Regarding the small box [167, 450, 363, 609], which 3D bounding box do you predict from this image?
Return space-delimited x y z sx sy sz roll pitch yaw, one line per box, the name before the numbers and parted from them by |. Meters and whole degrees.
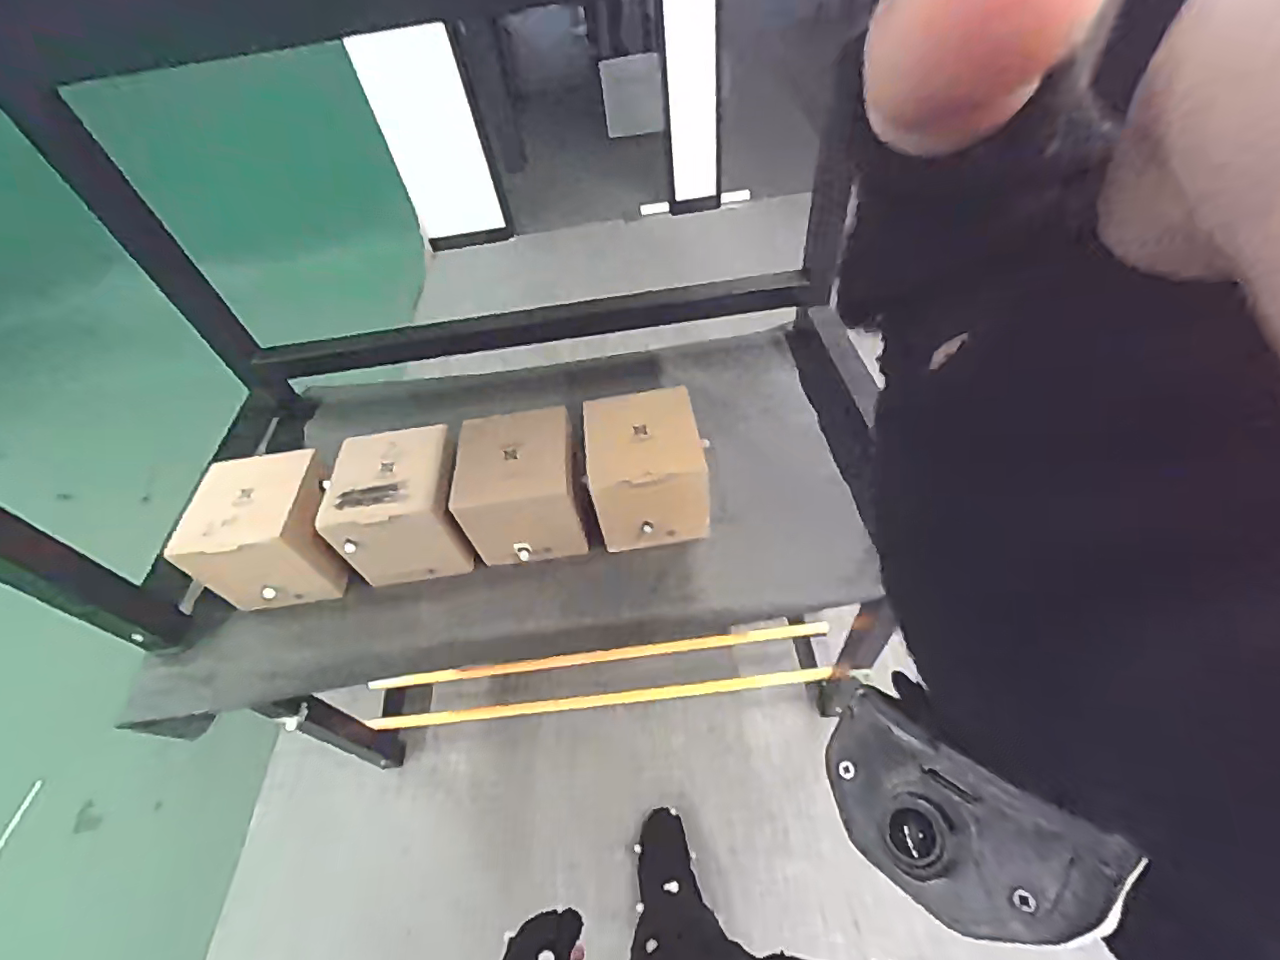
small box | -0.566 0.079 0.851 0.168 0.176 0.179 -8 50 1
